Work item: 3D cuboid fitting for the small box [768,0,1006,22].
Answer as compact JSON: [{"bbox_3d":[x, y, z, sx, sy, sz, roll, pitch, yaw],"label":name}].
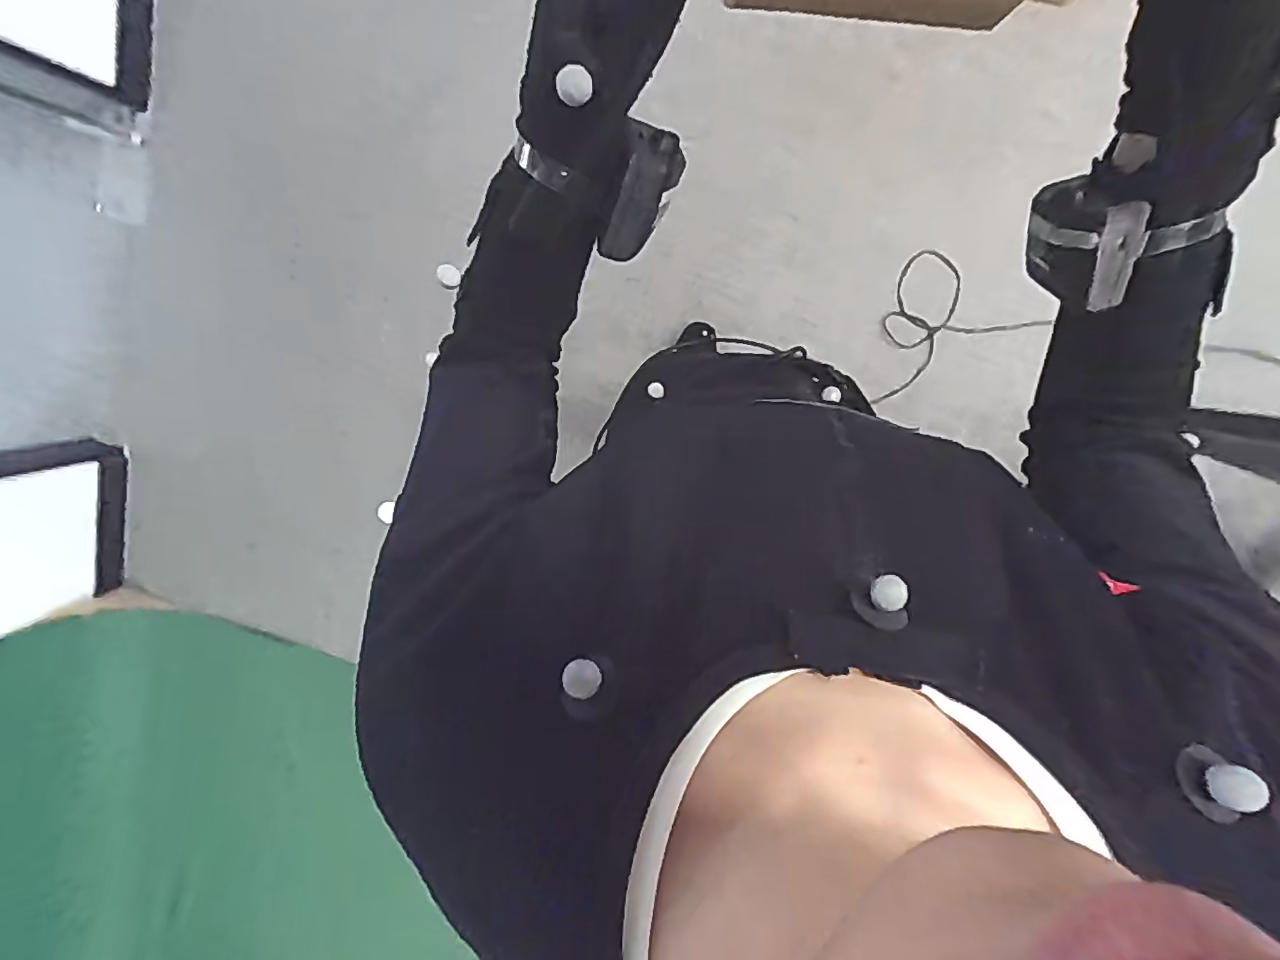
[{"bbox_3d":[0.141,-0.342,0.237,0.179,0.176,0.168,6,108,1],"label":"small box"}]
